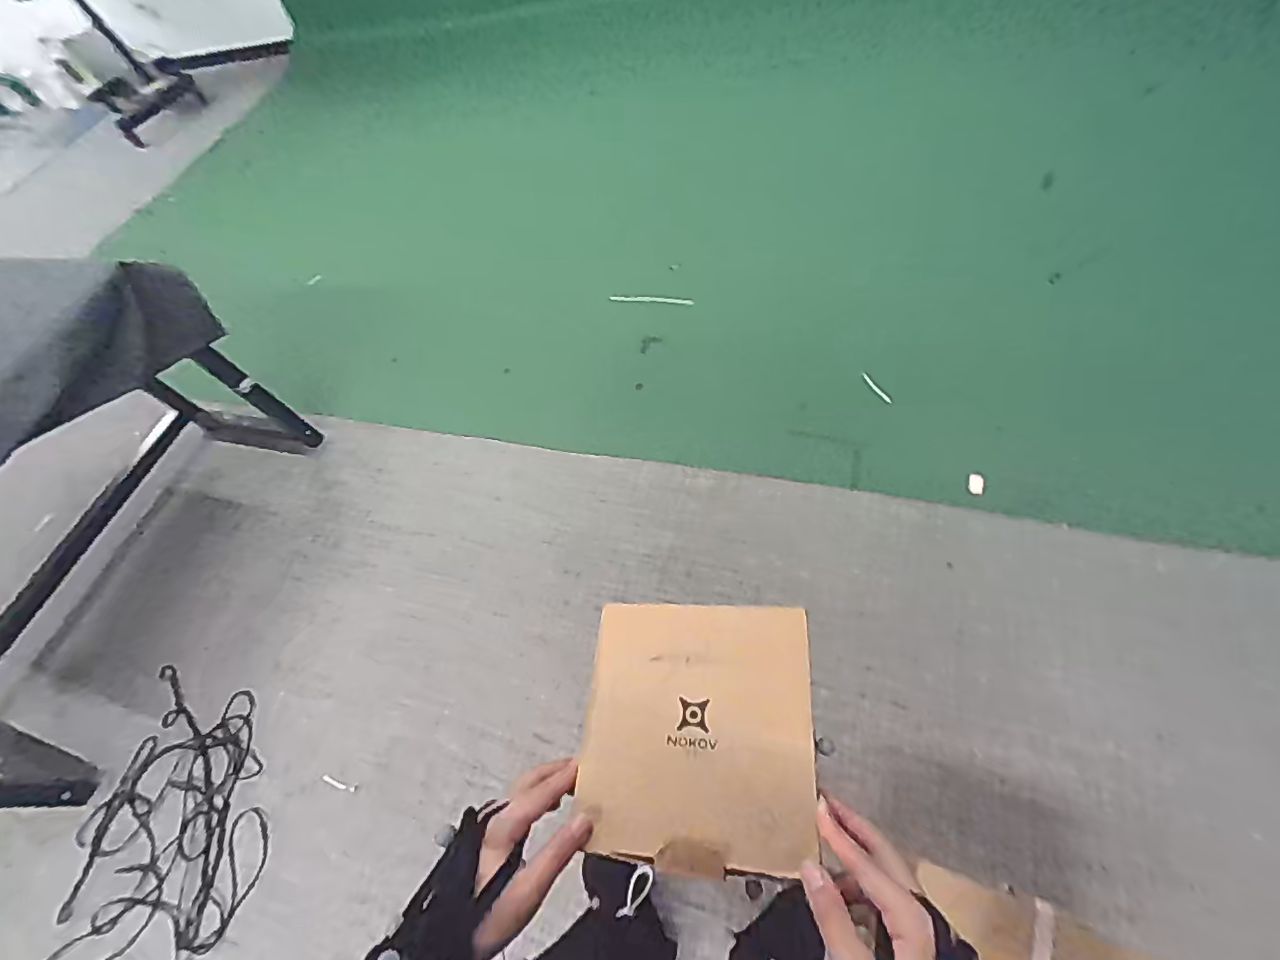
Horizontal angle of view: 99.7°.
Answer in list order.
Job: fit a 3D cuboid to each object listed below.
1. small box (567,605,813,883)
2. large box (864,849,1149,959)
[{"bbox_3d":[0.054,0.218,0.454,0.168,0.176,0.179,-3,55,14],"label":"small box"},{"bbox_3d":[0.497,0.823,0.768,0.320,0.320,0.408,14,65,21],"label":"large box"}]
